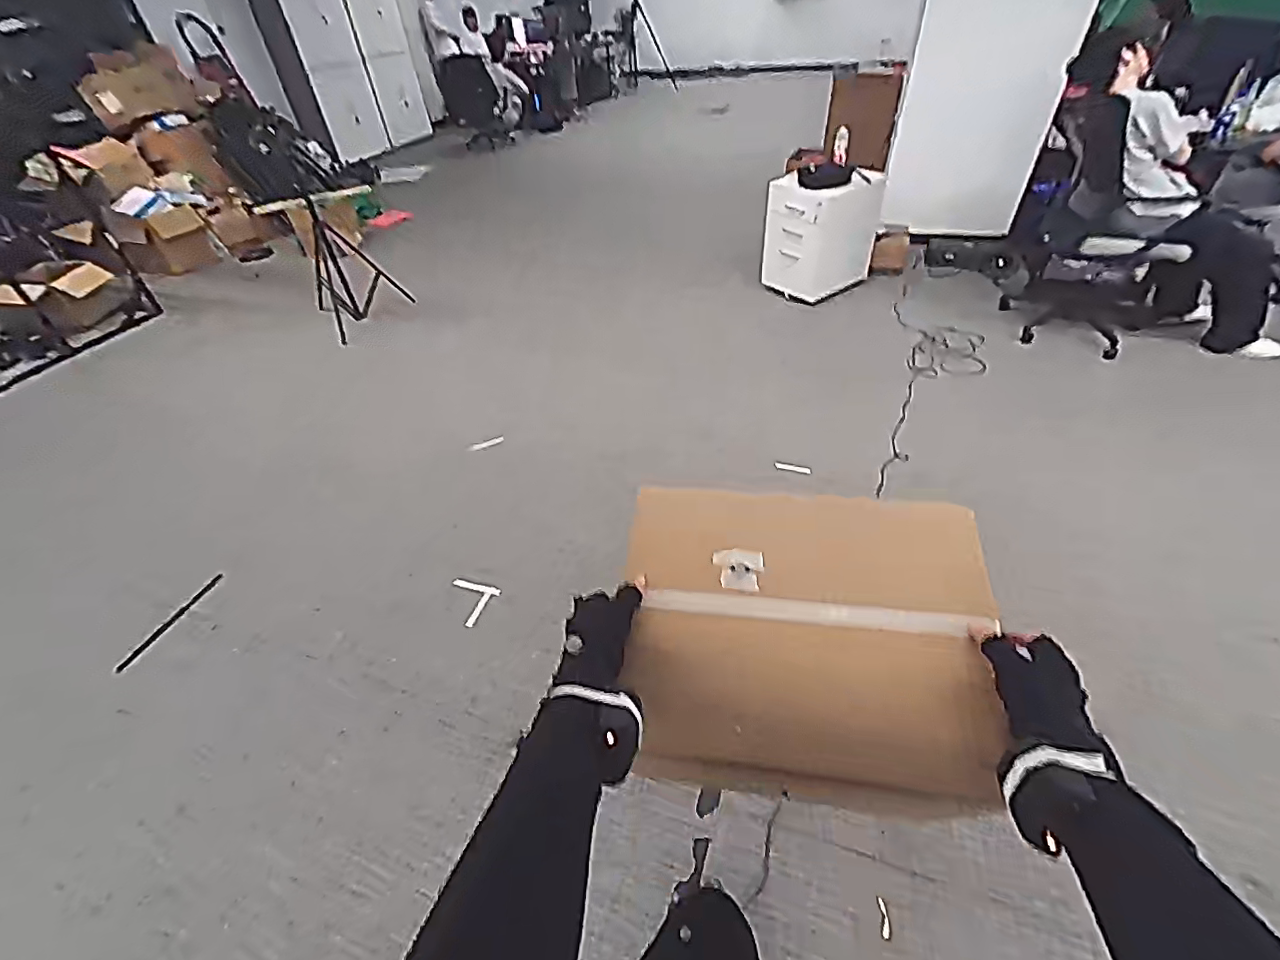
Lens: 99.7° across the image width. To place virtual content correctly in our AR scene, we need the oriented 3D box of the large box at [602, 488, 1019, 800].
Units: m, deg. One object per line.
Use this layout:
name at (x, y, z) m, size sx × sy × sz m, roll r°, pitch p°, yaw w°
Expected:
large box at (0.195, 0.226, 0.730) m, size 0.408 × 0.320 × 0.320 m, roll 3°, pitch 56°, yaw 11°
